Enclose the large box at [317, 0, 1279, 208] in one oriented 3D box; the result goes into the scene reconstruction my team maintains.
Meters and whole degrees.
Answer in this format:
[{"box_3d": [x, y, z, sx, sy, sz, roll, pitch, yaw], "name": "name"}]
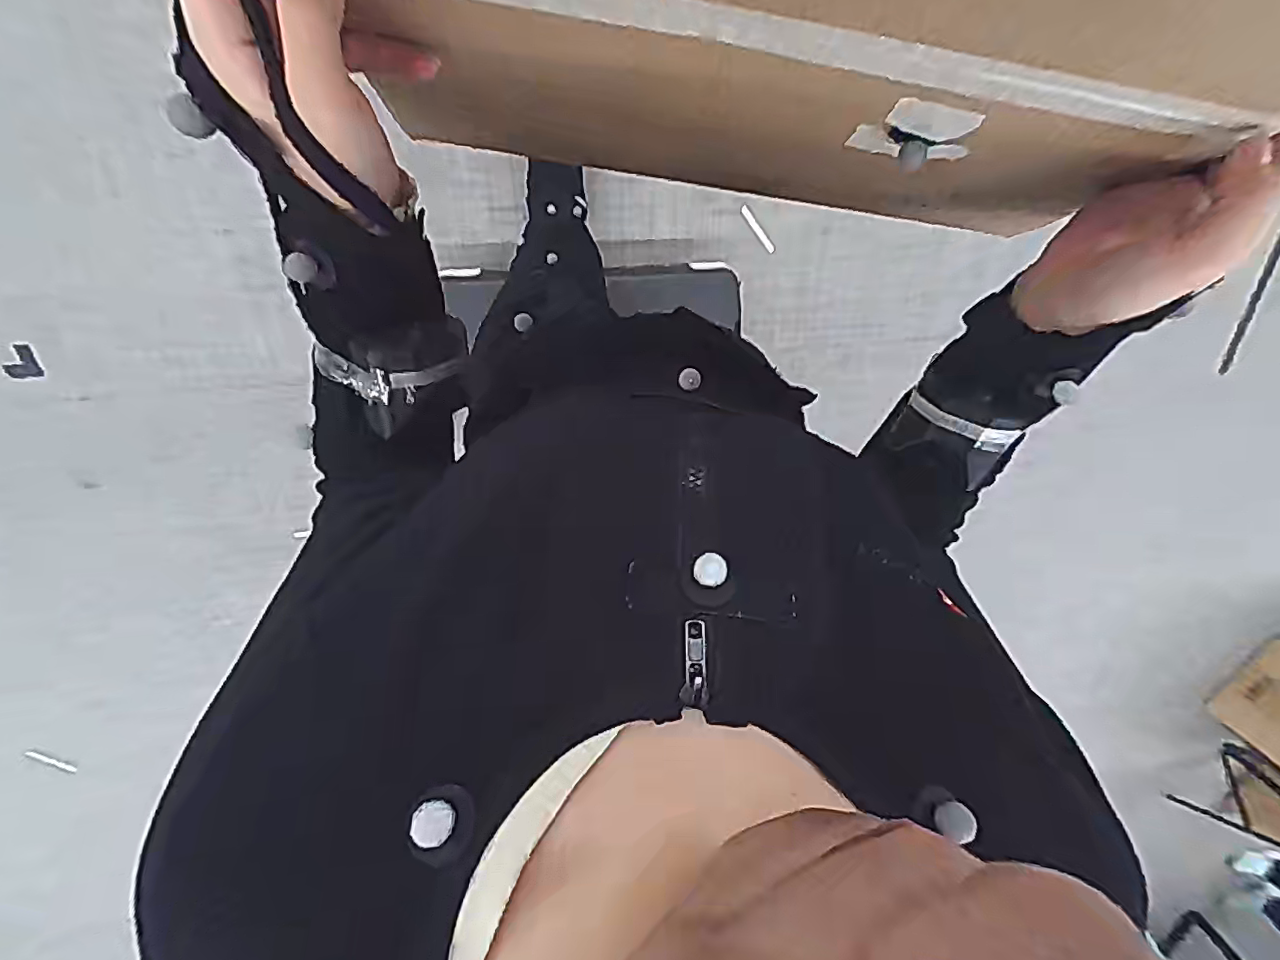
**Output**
[{"box_3d": [0.077, -0.330, 0.185, 0.408, 0.320, 0.320, 5, 99, -6], "name": "large box"}]
